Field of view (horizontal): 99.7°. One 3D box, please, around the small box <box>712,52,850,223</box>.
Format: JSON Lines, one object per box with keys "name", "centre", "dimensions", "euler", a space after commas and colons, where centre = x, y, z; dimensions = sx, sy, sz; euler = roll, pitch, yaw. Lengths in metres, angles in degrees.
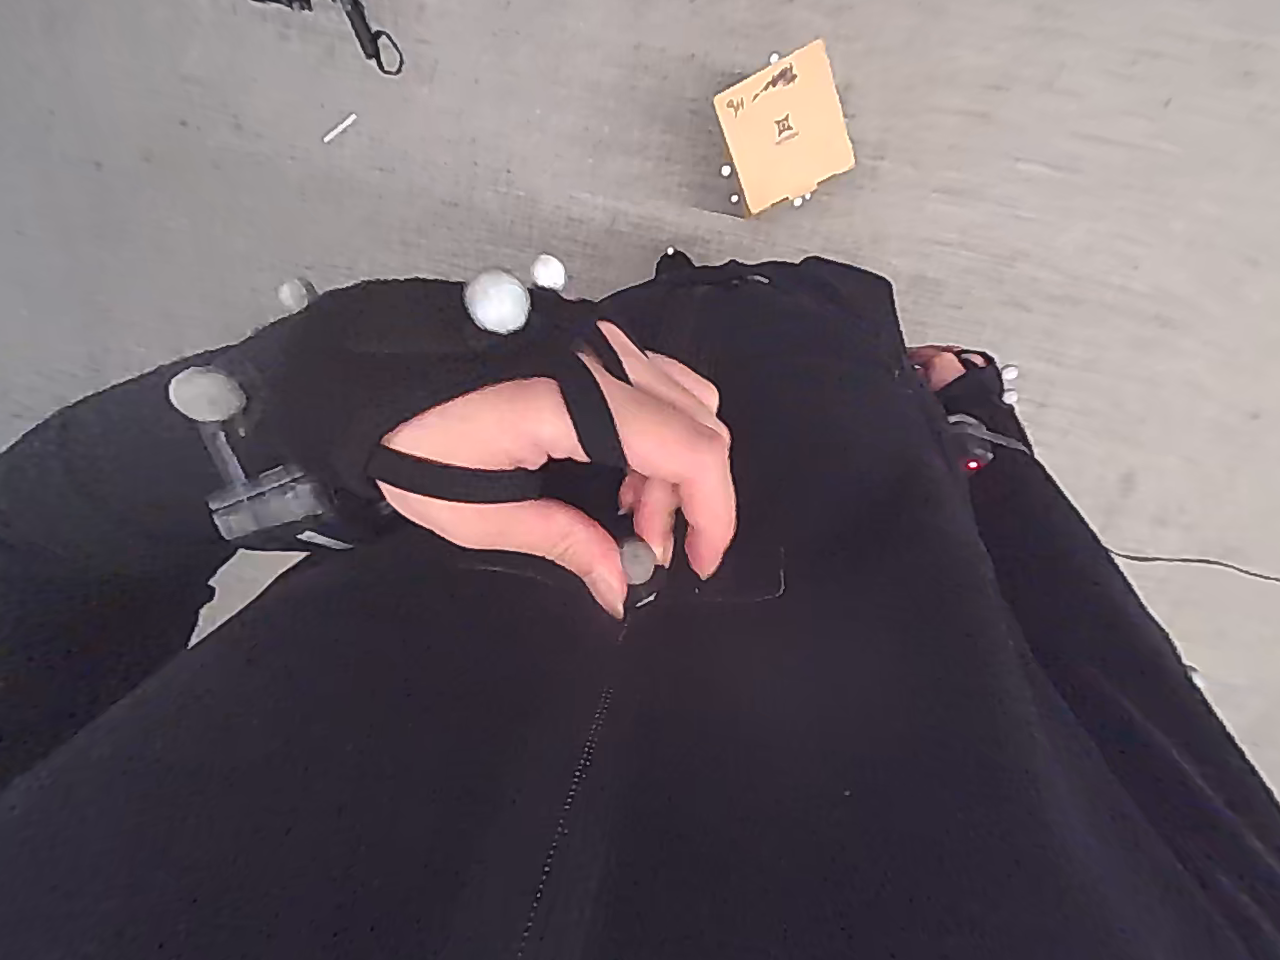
{"name": "small box", "centre": [0.225, -0.545, 0.887], "dimensions": [0.168, 0.176, 0.179], "euler": [-20, 111, 16]}
